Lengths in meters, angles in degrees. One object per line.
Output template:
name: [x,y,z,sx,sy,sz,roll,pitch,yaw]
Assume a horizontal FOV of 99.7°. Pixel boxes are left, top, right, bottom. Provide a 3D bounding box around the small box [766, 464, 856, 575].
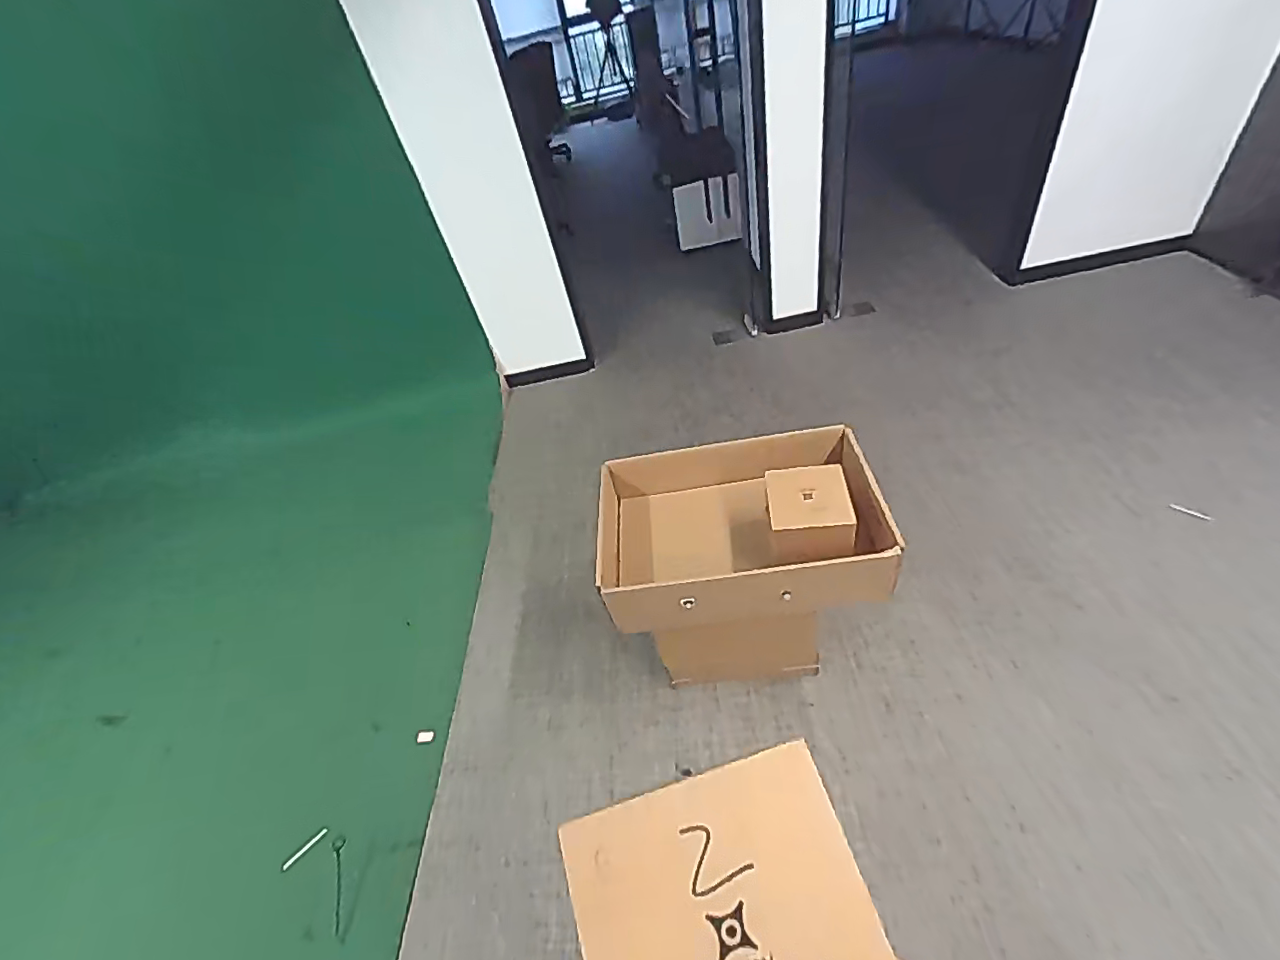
small box: [0.368,0.088,1.188,0.168,0.176,0.179,-6,43,12]
